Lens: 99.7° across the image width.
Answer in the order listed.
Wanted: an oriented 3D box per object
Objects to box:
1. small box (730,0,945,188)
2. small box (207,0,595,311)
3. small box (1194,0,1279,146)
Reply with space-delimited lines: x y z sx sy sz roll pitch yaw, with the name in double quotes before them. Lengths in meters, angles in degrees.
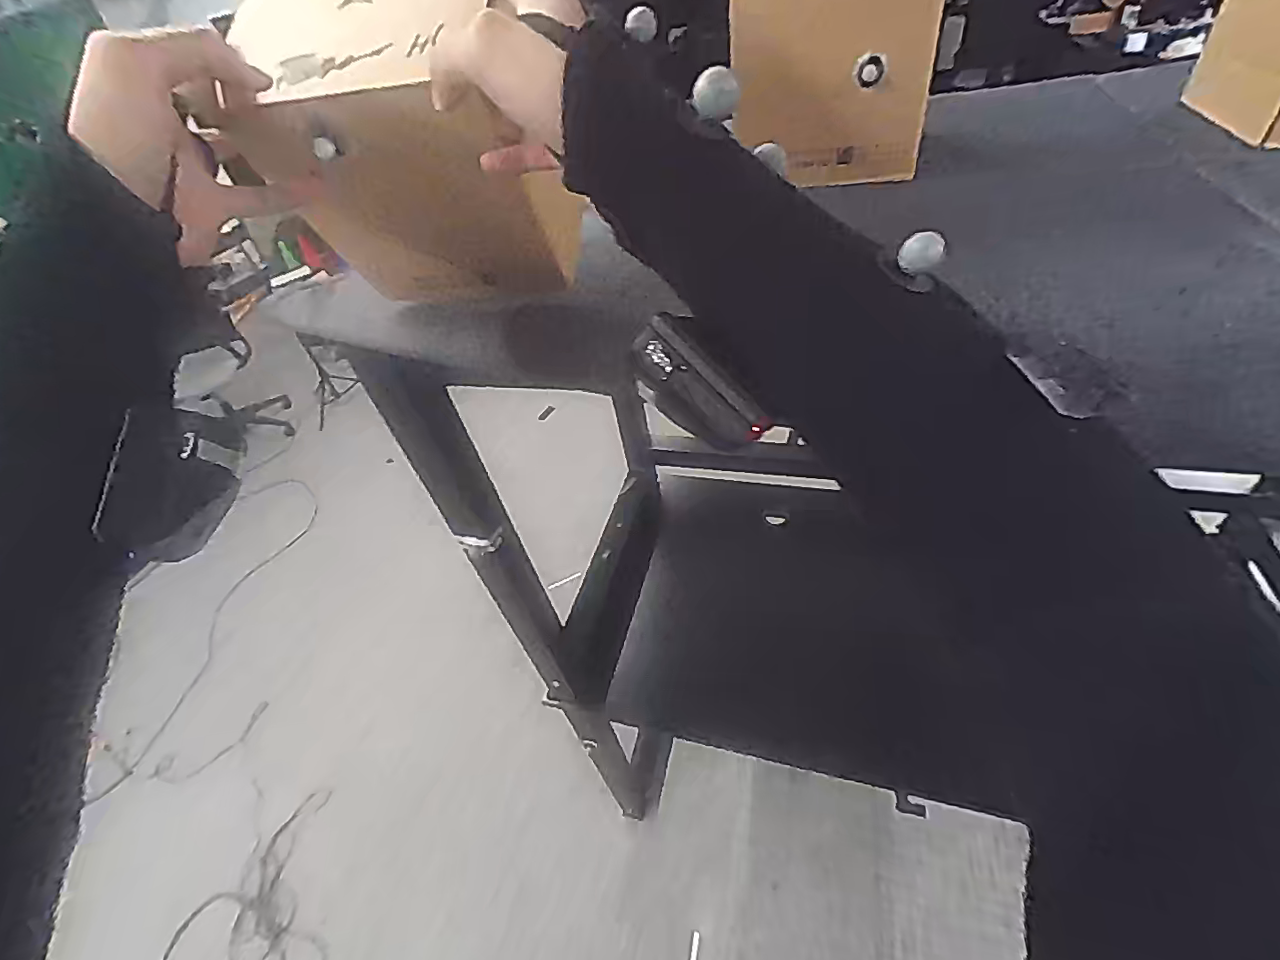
"small box" 0.188 -0.393 0.516 0.168 0.176 0.179 8 47 19
"small box" -0.135 -0.243 0.379 0.168 0.176 0.179 1 72 11
"small box" 0.576 -0.363 0.397 0.168 0.176 0.179 5 46 18
